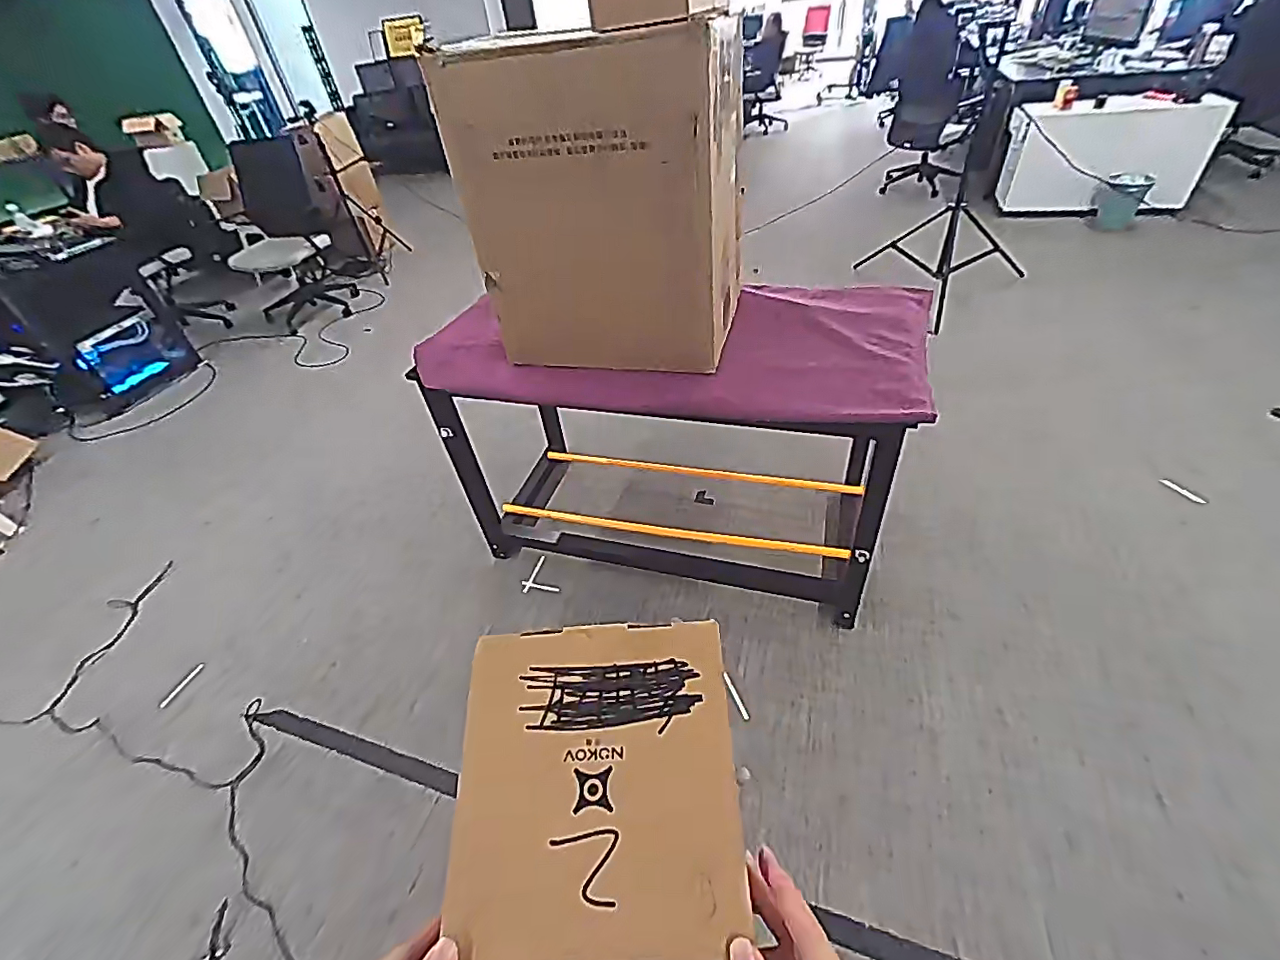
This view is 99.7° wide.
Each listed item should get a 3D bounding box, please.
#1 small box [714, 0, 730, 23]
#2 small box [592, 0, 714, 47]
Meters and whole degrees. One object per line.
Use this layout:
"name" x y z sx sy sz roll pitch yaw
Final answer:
"small box" 0.075 -0.956 1.012 0.168 0.176 0.179 7 44 18
"small box" 0.018 -0.816 0.860 0.168 0.176 0.179 8 44 18
